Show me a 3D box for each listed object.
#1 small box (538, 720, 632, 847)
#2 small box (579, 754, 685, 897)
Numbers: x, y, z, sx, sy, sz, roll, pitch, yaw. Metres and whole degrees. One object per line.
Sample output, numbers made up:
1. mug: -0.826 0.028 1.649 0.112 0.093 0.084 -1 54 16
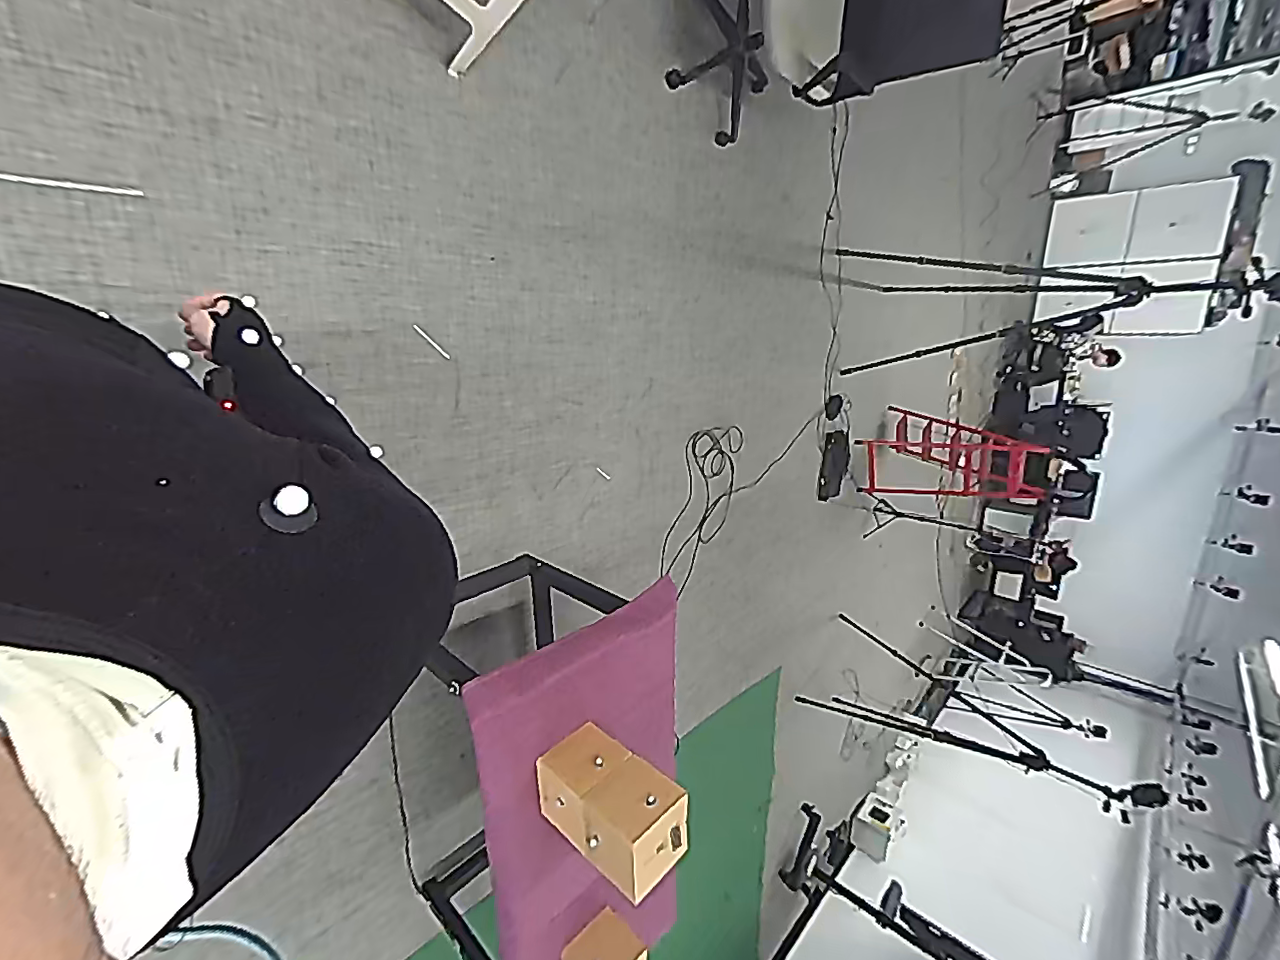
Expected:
1. small box: -0.136 0.732 1.325 0.179 0.176 0.168 -18 113 -44
2. small box: -0.017 0.762 1.216 0.179 0.176 0.168 -17 112 -43
